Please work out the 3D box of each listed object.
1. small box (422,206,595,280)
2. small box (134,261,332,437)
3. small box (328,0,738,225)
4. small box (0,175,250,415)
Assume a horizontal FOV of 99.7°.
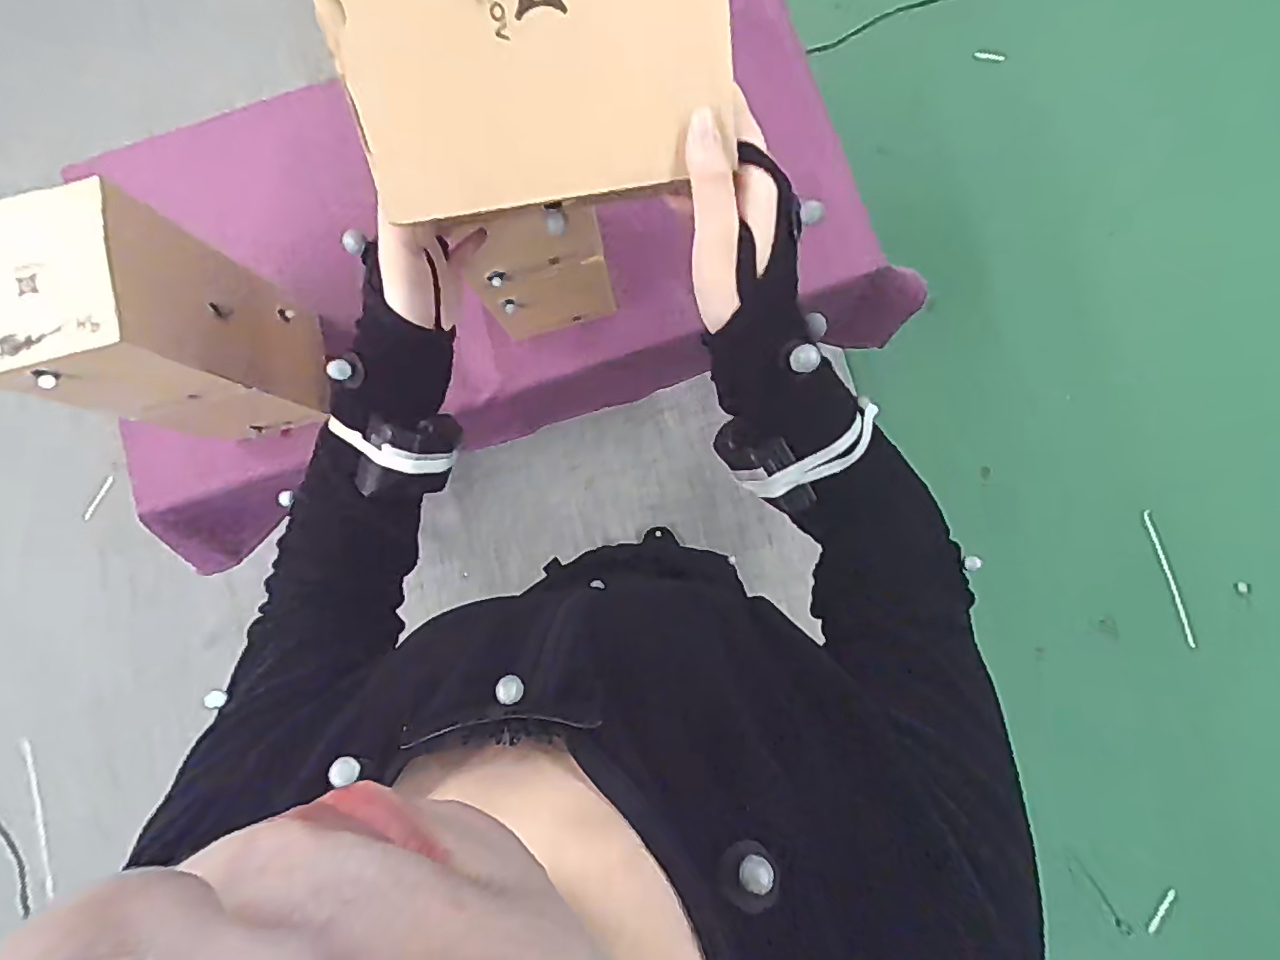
[{"bbox_3d":[-0.157,-0.346,0.597,0.168,0.176,0.179,-19,82,0],"label":"small box"},{"bbox_3d":[-0.571,-0.173,0.764,0.168,0.176,0.179,-13,85,2],"label":"small box"},{"bbox_3d":[-0.052,-0.247,0.304,0.179,0.176,0.168,-9,117,0],"label":"small box"},{"bbox_3d":[-0.579,-0.189,0.600,0.168,0.176,0.179,-13,83,3],"label":"small box"}]
